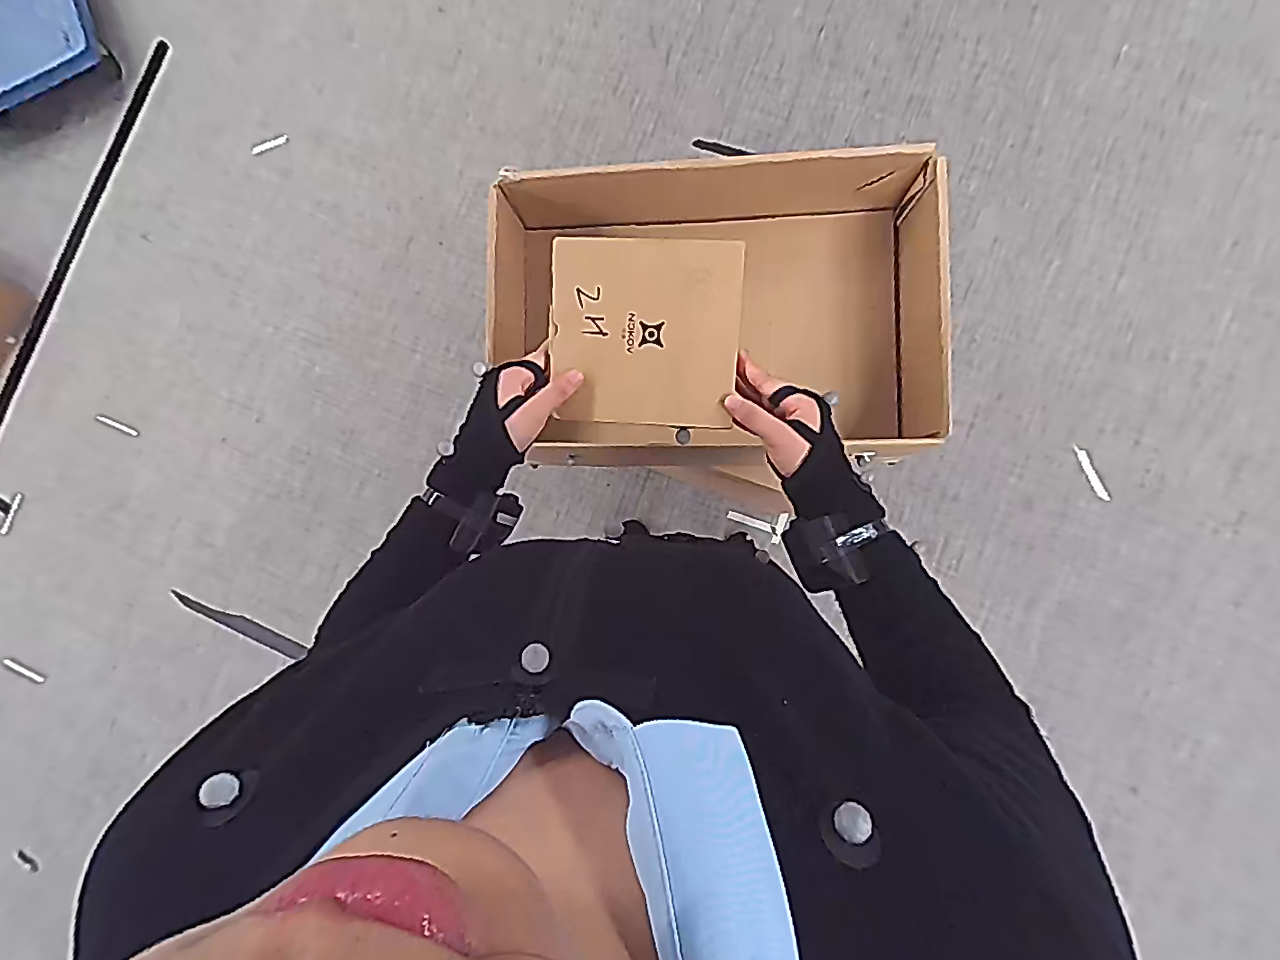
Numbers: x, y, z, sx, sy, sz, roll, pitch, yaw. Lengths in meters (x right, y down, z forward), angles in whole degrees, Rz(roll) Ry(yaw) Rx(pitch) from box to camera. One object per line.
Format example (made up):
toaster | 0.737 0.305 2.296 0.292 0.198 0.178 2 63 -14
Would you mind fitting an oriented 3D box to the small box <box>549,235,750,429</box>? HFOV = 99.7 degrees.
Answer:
small box | 0.014 -0.143 0.569 0.179 0.176 0.168 4 96 6
